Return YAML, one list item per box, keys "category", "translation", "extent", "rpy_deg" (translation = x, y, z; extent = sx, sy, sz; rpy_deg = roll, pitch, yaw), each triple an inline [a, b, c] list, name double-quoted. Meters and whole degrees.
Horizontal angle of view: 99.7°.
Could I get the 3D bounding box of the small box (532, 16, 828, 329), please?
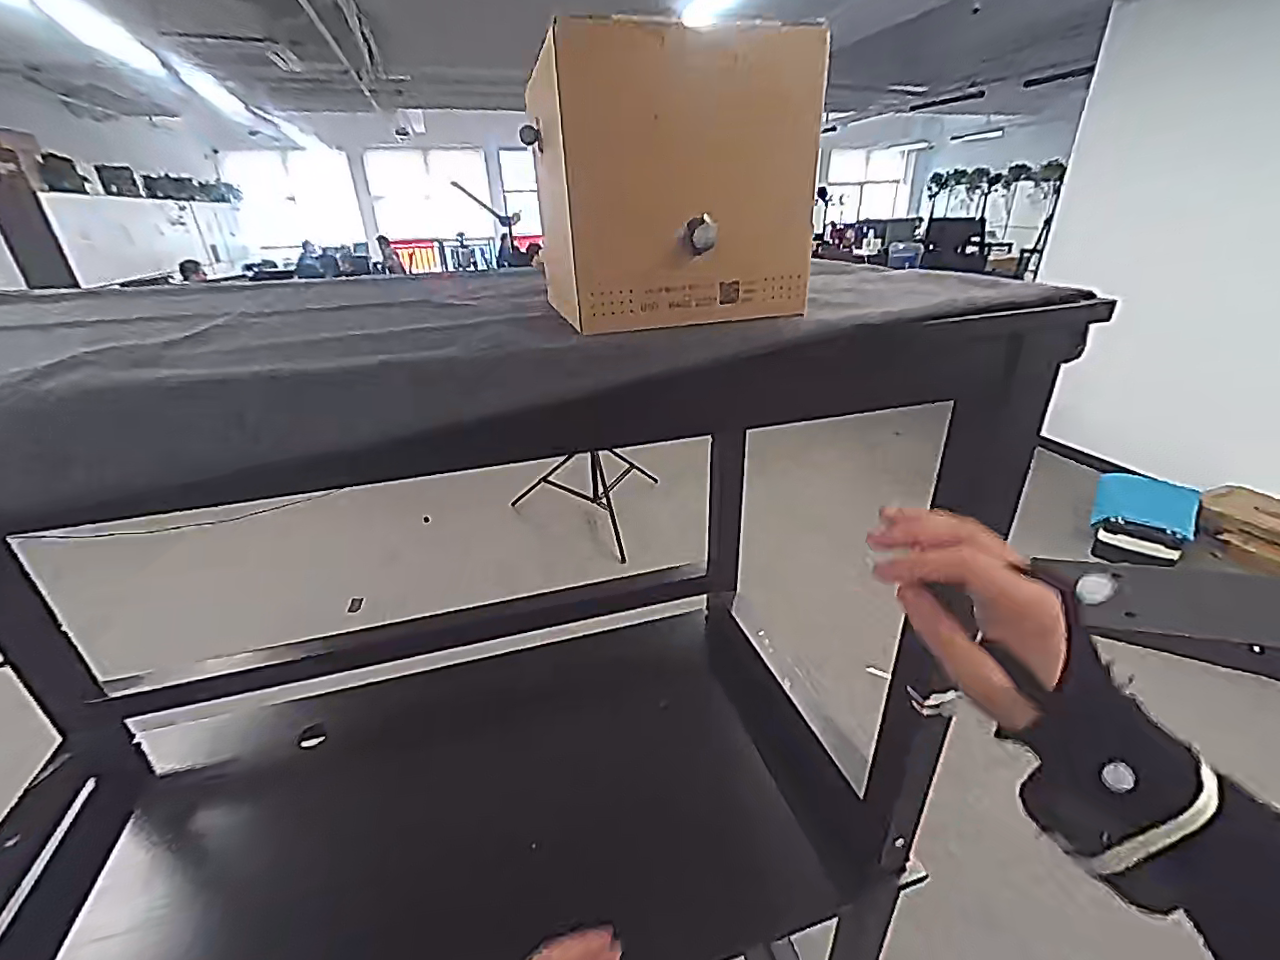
- category: "small box"
  translation: [0.015, -0.214, 0.410]
  extent: [0.168, 0.176, 0.179]
  rpy_deg: [-10, 27, -12]
